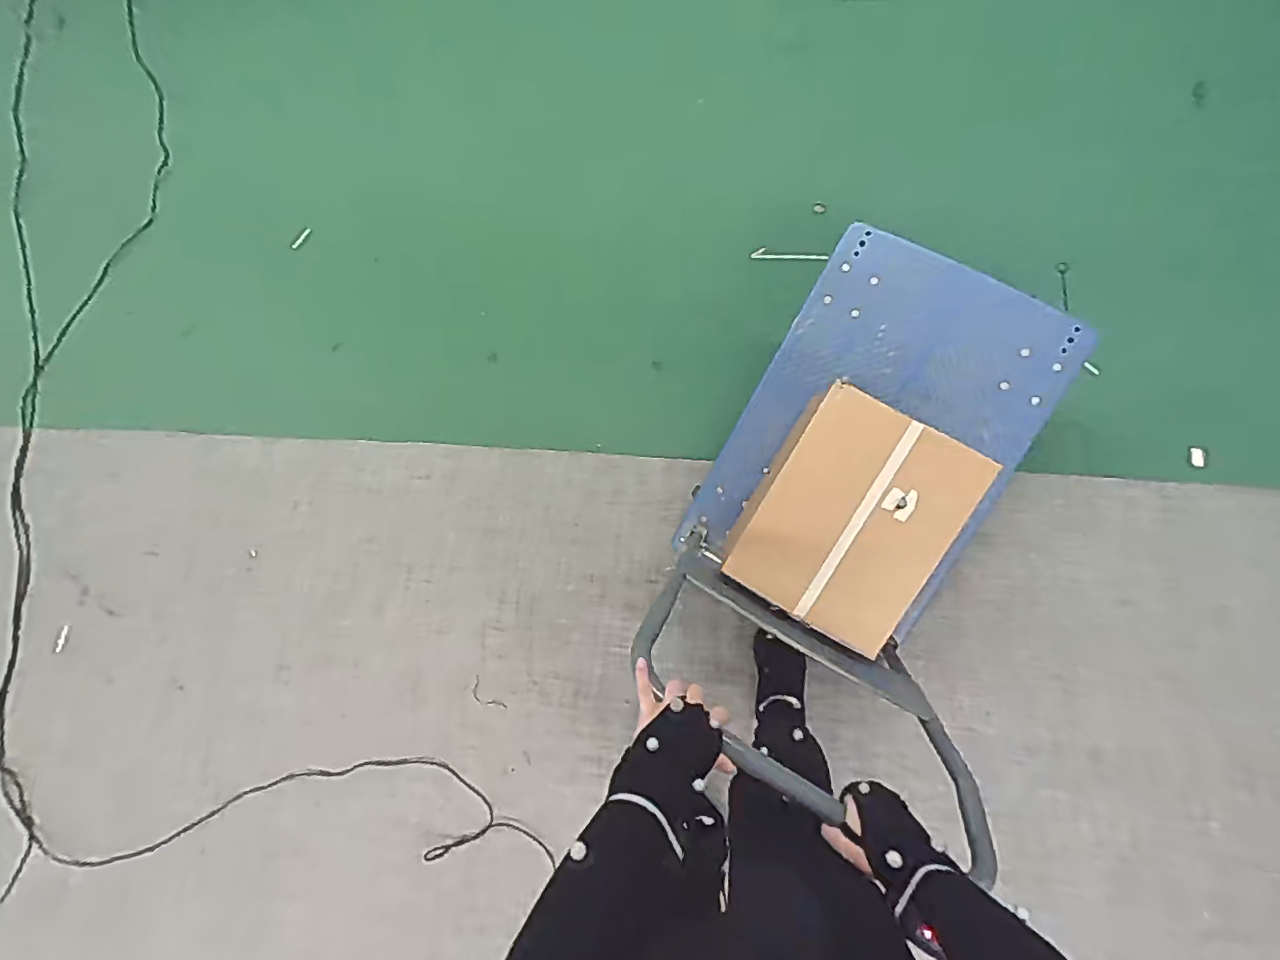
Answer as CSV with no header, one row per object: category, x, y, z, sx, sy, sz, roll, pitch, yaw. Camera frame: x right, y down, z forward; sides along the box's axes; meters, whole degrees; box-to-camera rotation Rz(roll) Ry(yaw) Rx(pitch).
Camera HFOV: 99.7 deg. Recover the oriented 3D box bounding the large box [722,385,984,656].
large box,0.397,0.072,1.117,0.320,0.320,0.408,30,96,7
